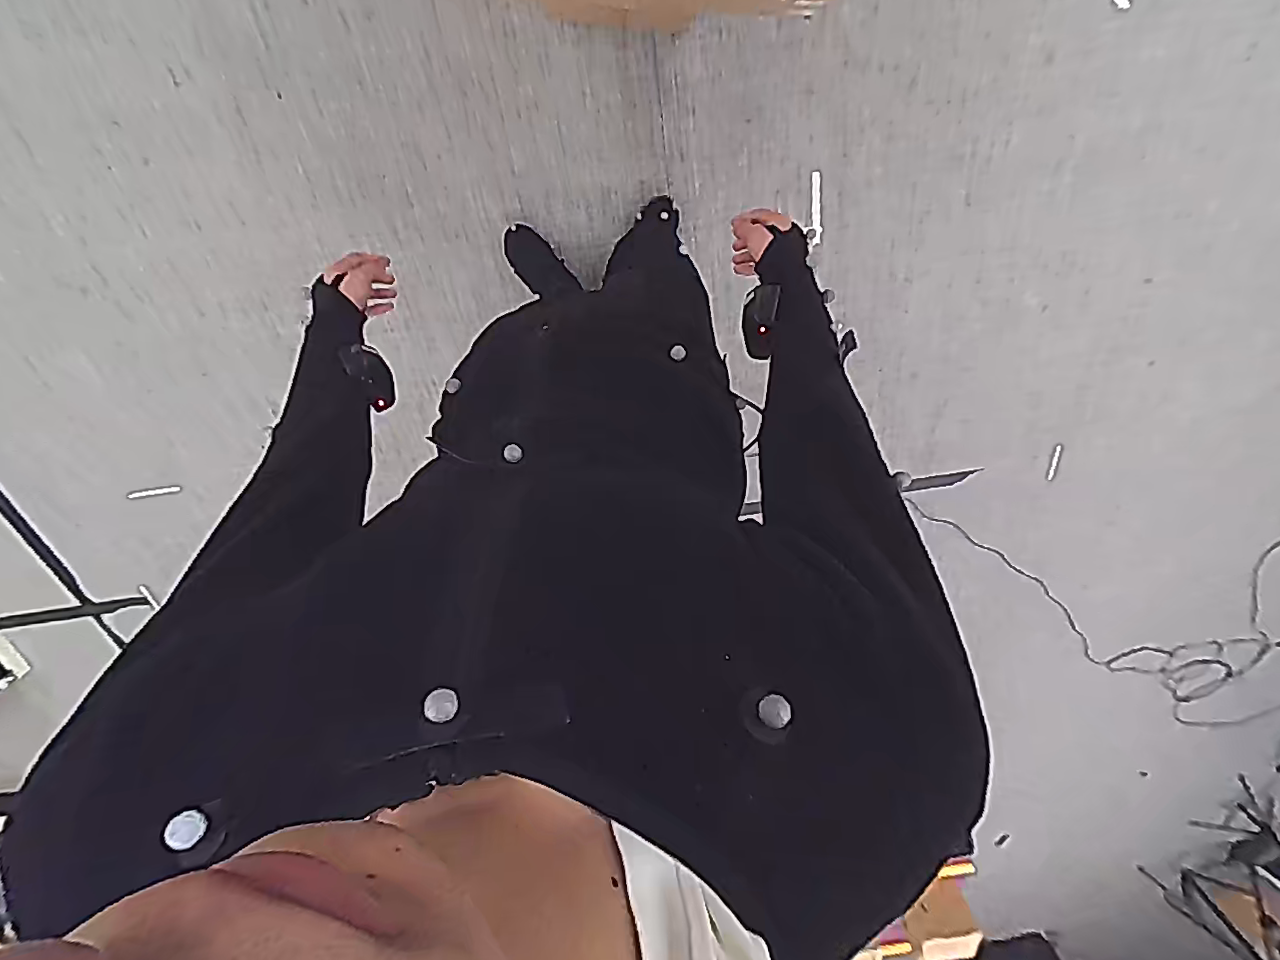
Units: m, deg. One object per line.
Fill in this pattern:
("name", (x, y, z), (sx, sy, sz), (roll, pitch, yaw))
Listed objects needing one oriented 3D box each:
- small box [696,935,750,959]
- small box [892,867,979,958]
("small box", (0.288, 1.672, 1.811), (0.179, 0.176, 0.168), (-8, 118, -3))
("small box", (0.916, 1.353, 1.697), (0.179, 0.176, 0.168), (-8, 120, 1))
